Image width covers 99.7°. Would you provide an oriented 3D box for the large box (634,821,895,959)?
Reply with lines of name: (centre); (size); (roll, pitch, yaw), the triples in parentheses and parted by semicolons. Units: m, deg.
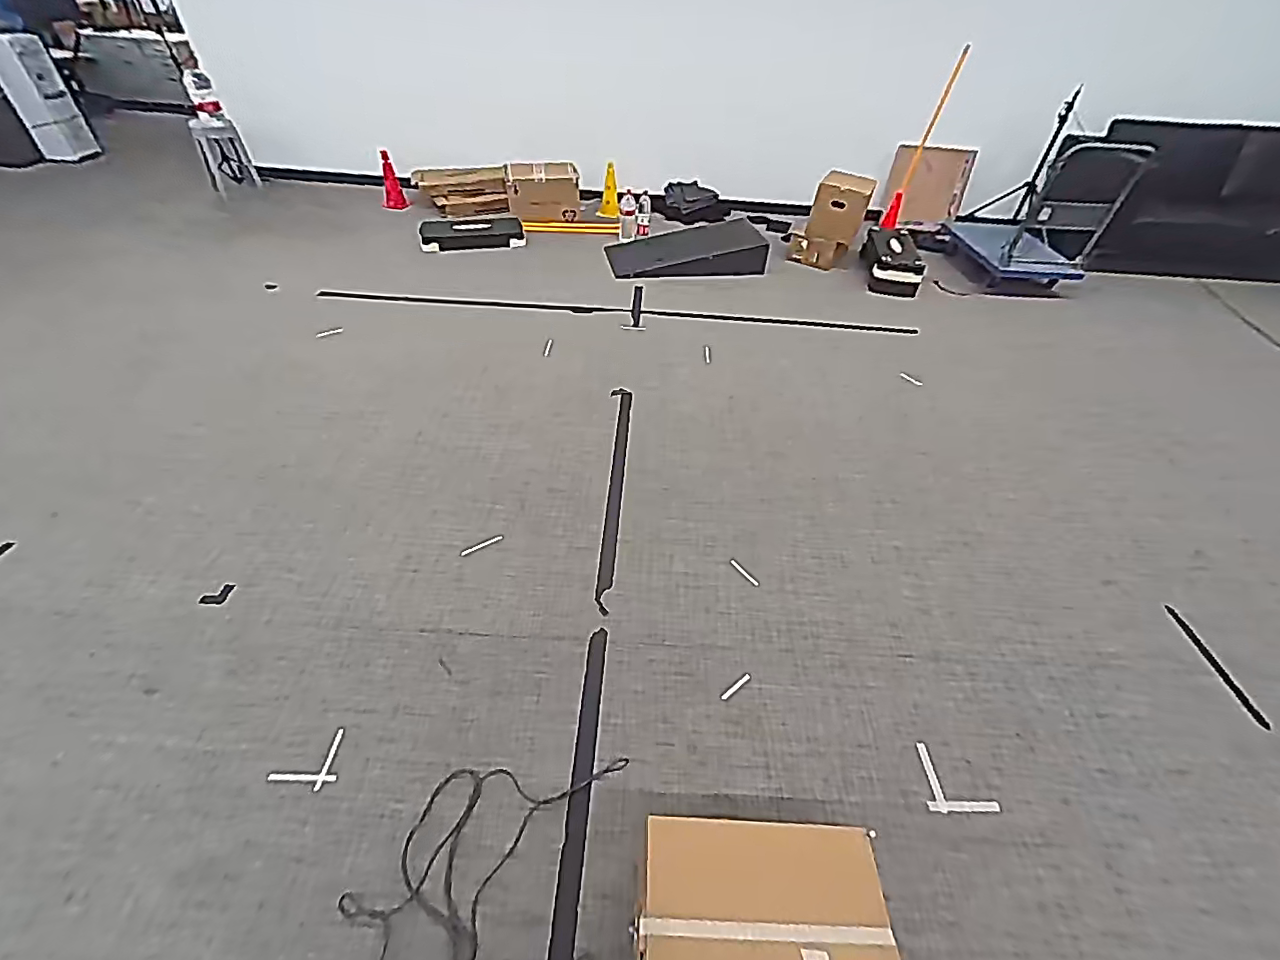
large box: (0.197, 0.840, 0.968); (0.408, 0.320, 0.320); (4, 43, -2)
